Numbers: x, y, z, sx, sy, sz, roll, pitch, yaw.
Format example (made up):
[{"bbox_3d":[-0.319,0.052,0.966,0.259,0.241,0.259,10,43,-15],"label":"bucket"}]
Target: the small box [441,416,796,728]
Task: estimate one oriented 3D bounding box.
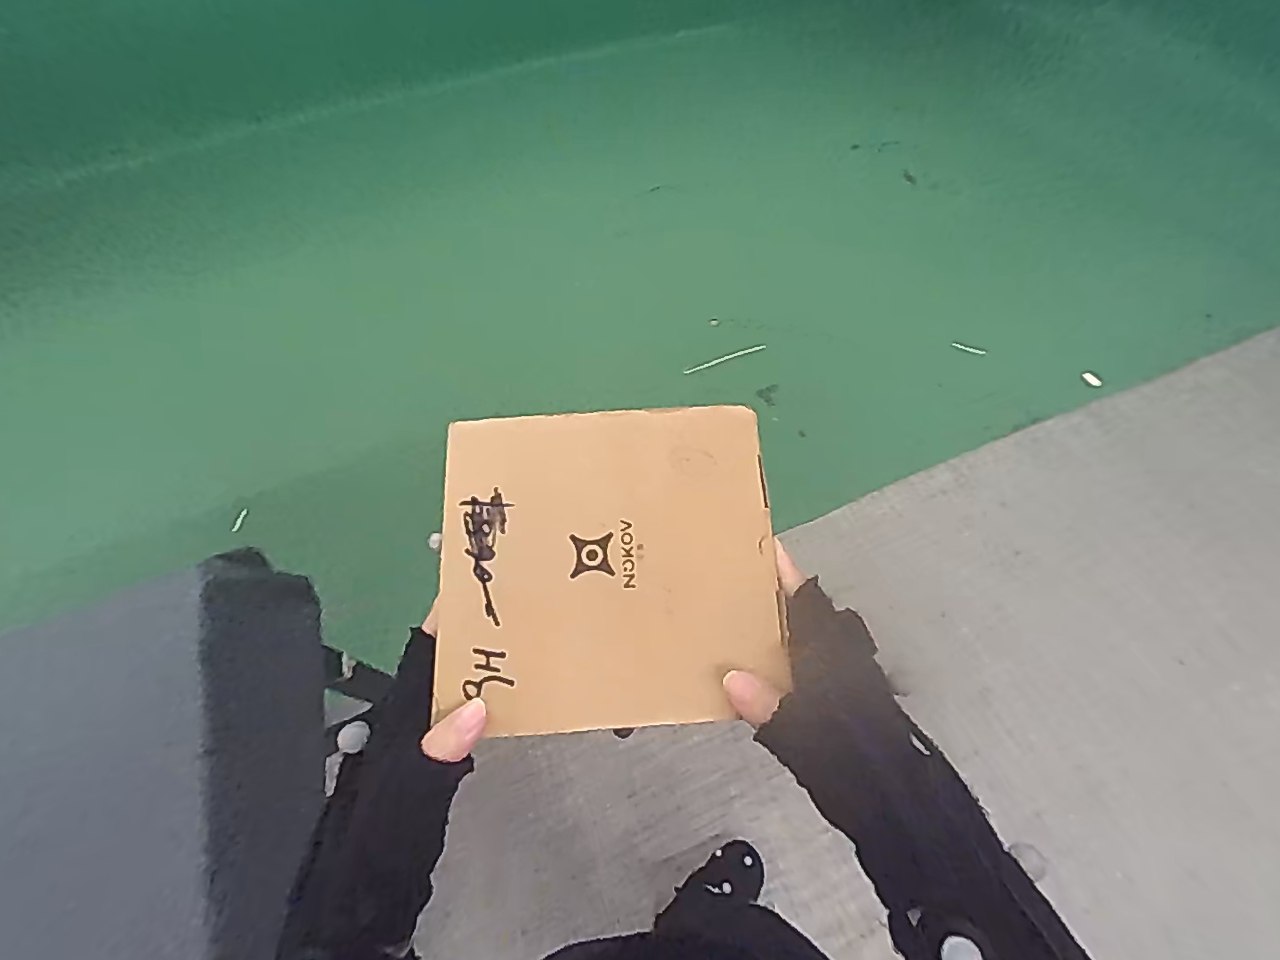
[{"bbox_3d":[-0.014,0.067,0.363,0.179,0.176,0.168,-2,70,-2],"label":"small box"}]
